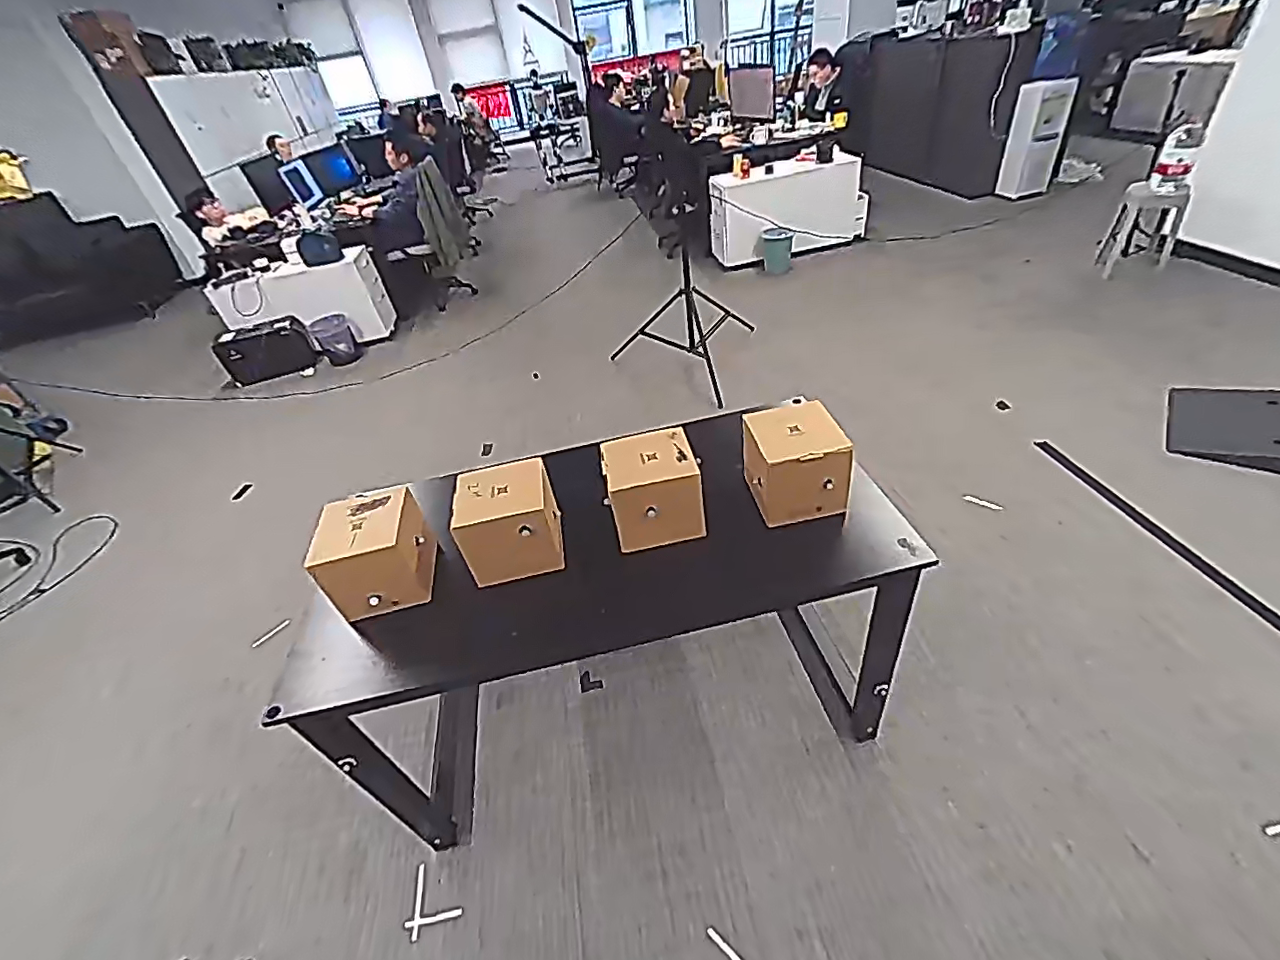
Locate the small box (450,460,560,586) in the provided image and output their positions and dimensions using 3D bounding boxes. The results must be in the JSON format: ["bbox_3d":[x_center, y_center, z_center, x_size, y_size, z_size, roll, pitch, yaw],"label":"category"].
[{"bbox_3d":[-0.264,0.088,1.094,0.179,0.176,0.168,-13,39,-3],"label":"small box"}]

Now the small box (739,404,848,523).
[{"bbox_3d":[0.307,-0.029,1.108,0.168,0.176,0.179,-11,38,-1],"label":"small box"}]

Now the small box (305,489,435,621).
[{"bbox_3d":[-0.523,0.148,1.080,0.168,0.176,0.179,-14,40,-4],"label":"small box"}]

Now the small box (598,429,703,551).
[{"bbox_3d":[0.022,0.024,1.109,0.179,0.176,0.168,-12,39,-1],"label":"small box"}]
